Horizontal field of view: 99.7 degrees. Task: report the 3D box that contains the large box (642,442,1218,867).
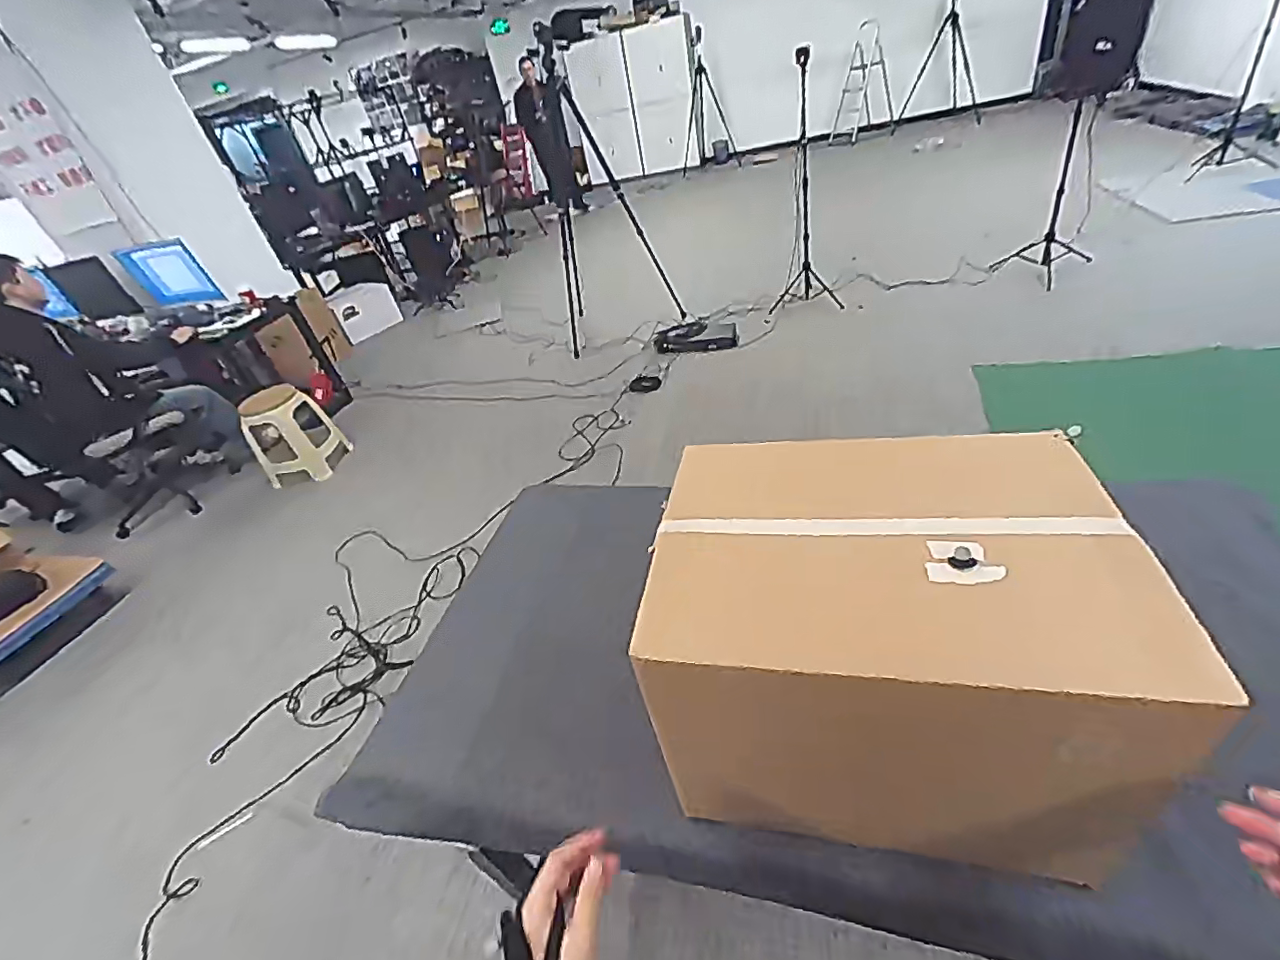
[{"bbox_3d":[0.245,0.172,0.604,0.408,0.320,0.320,0,38,16],"label":"large box"}]
